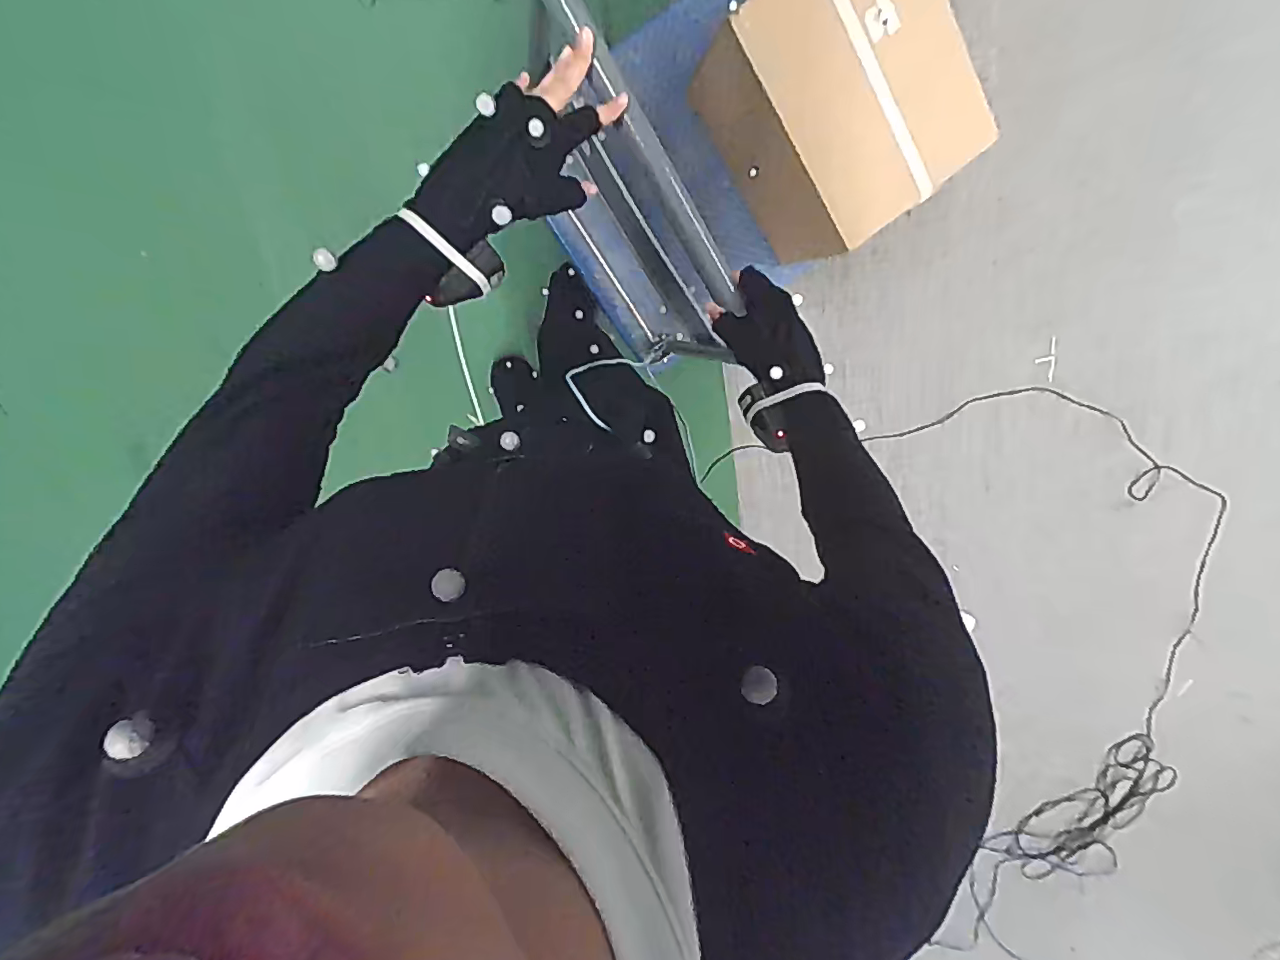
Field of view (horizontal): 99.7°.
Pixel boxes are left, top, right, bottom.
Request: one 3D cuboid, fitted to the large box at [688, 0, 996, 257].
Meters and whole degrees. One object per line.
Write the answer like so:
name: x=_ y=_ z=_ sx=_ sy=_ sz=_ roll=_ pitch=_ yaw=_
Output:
large box: x=0.344 y=-0.685 z=0.996 sx=0.320 sy=0.320 sz=0.408 roll=-36 pitch=108 yaw=4
